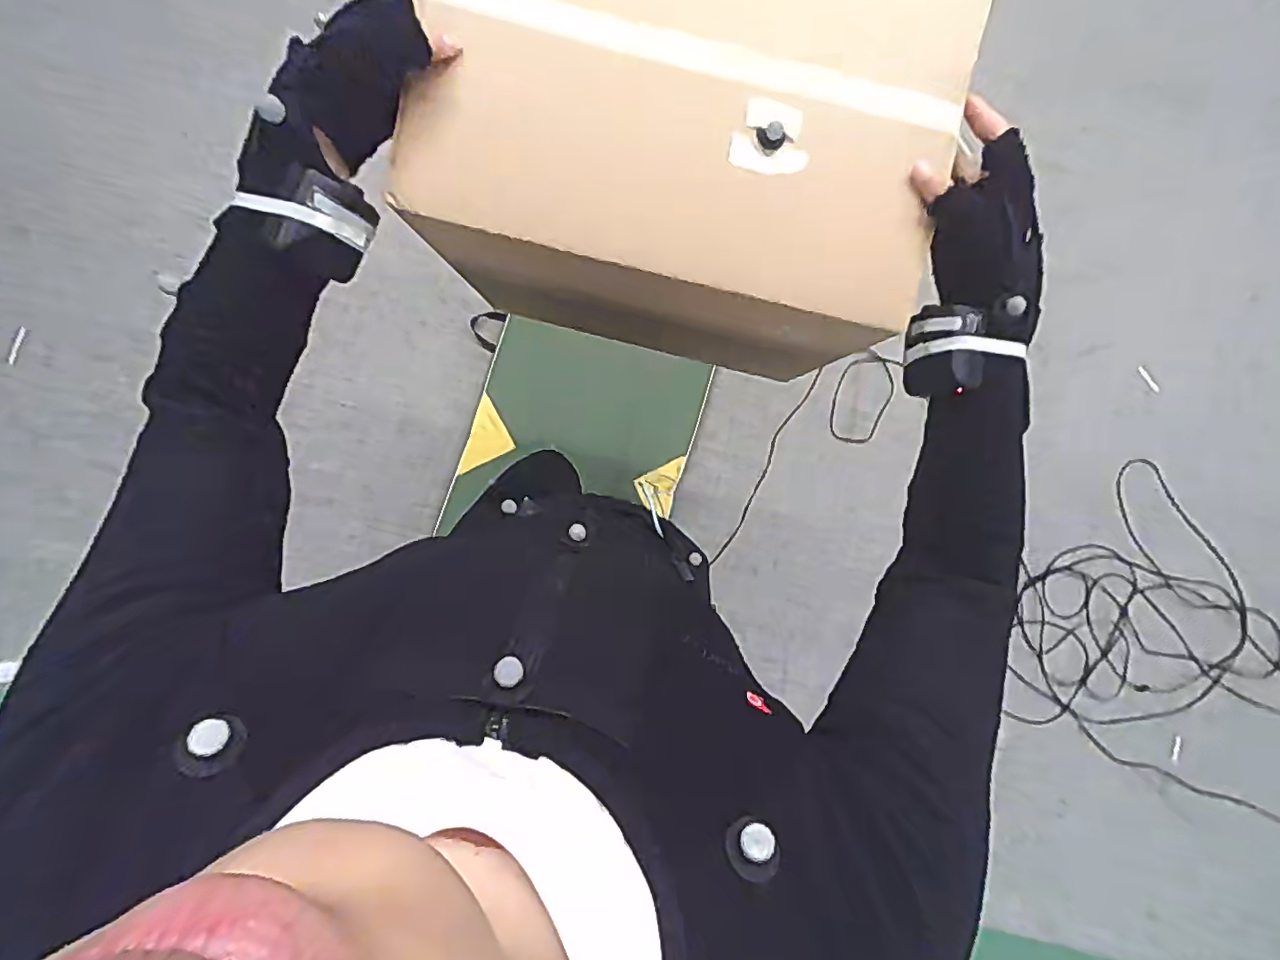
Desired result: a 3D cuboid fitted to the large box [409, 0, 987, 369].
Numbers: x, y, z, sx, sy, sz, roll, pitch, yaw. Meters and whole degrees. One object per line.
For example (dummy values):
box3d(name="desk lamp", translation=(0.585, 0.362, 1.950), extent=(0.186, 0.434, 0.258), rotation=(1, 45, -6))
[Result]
box3d(name="large box", translation=(0.043, -0.326, 0.553), extent=(0.408, 0.320, 0.320), rotation=(13, 93, -3))
